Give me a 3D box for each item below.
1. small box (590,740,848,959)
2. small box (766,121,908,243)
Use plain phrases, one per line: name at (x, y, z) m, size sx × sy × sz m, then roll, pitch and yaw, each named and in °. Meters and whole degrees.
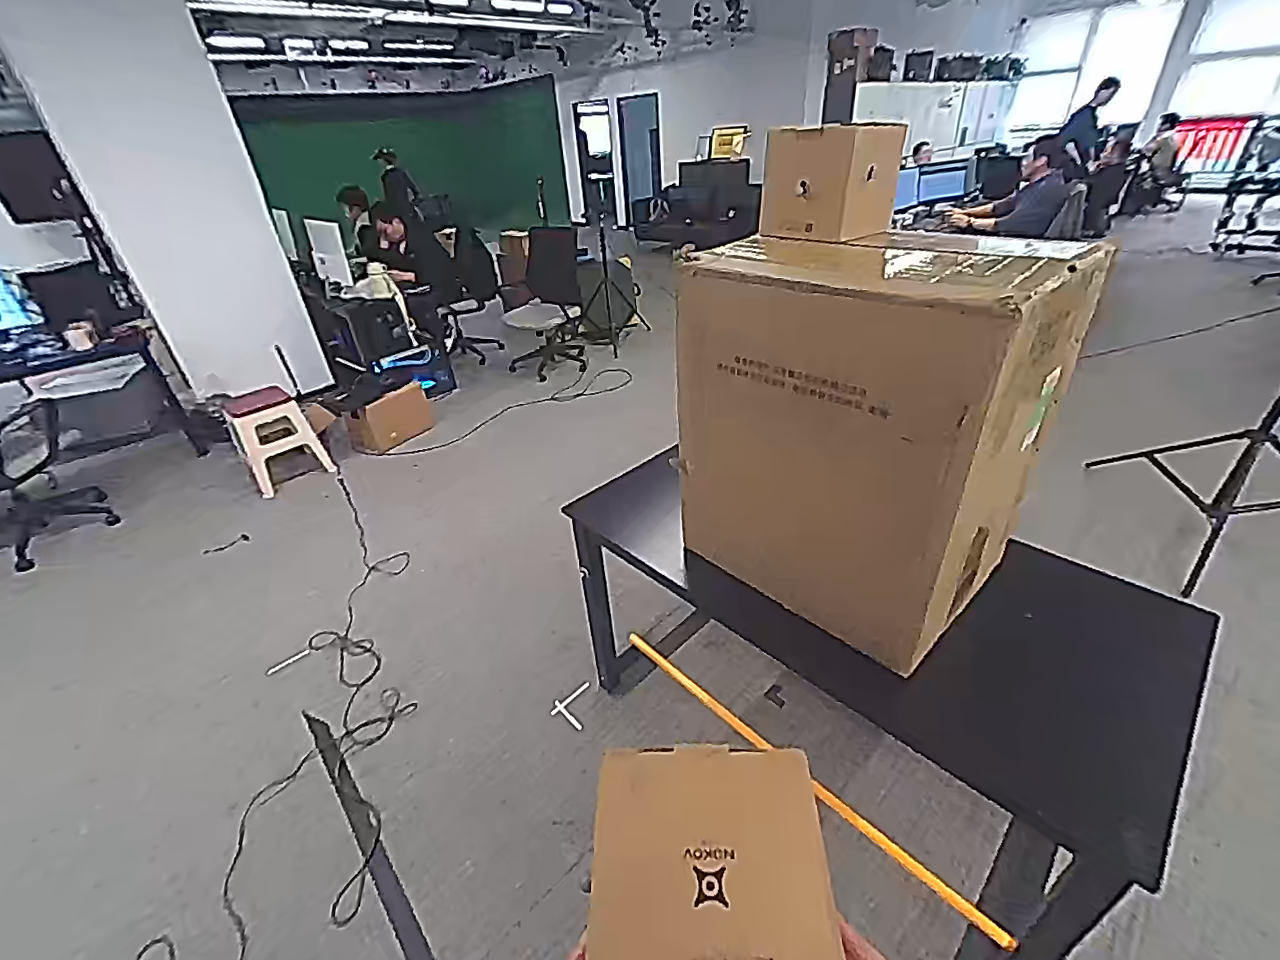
small box at (0.055, 0.331, 0.430) m, size 0.168 × 0.176 × 0.179 m, roll -2°, pitch 42°, yaw 4°
small box at (0.336, -0.519, 0.945) m, size 0.179 × 0.176 × 0.168 m, roll -28°, pitch 41°, yaw -35°
